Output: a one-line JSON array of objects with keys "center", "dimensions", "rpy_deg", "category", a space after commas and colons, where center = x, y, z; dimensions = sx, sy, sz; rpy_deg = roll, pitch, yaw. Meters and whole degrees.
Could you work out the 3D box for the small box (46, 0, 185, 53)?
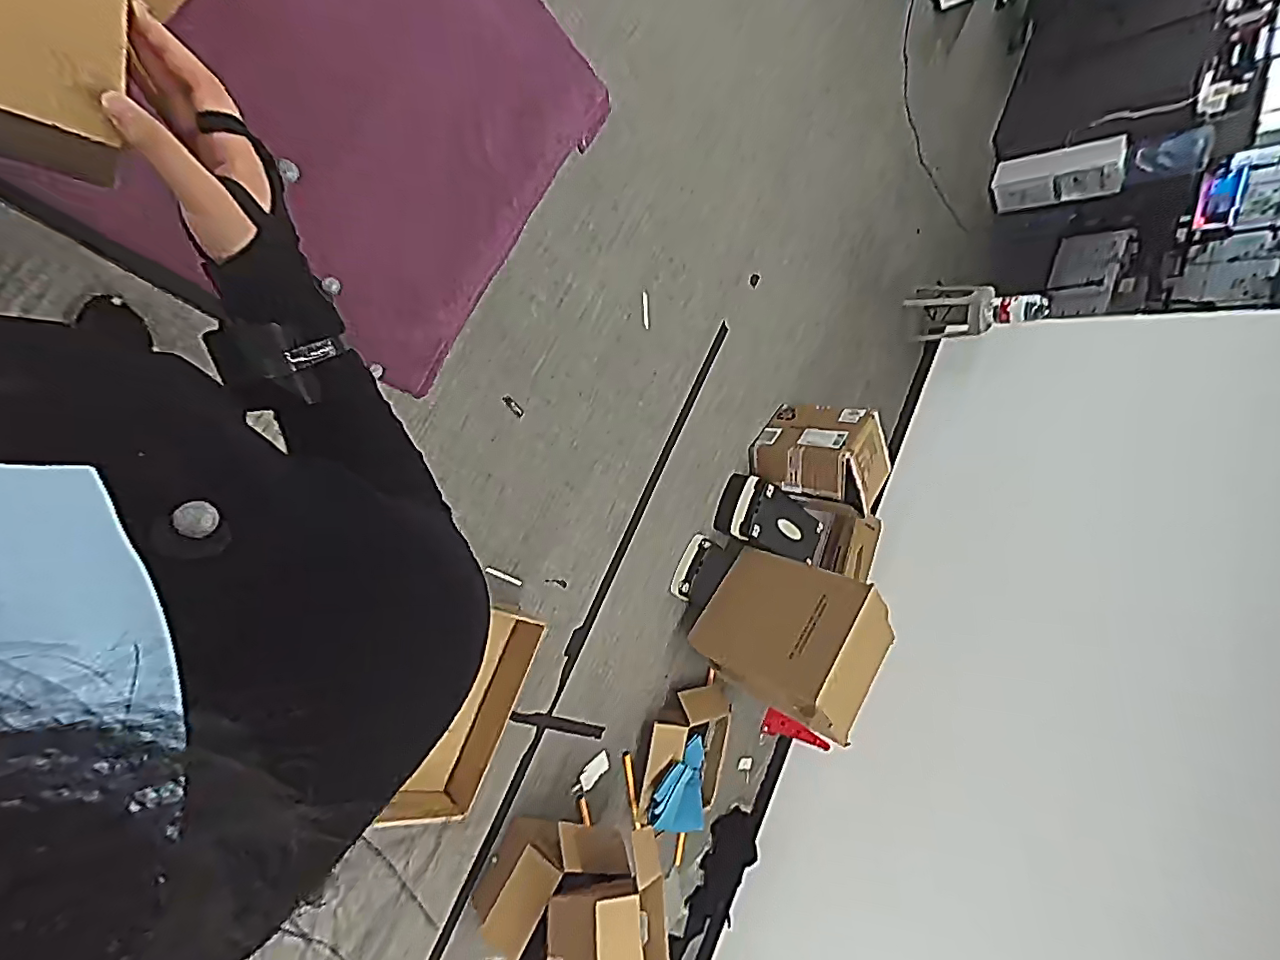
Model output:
[{"center": [-0.459, -0.509, 0.438], "dimensions": [0.168, 0.176, 0.179], "rpy_deg": [38, 73, -42], "category": "small box"}]
